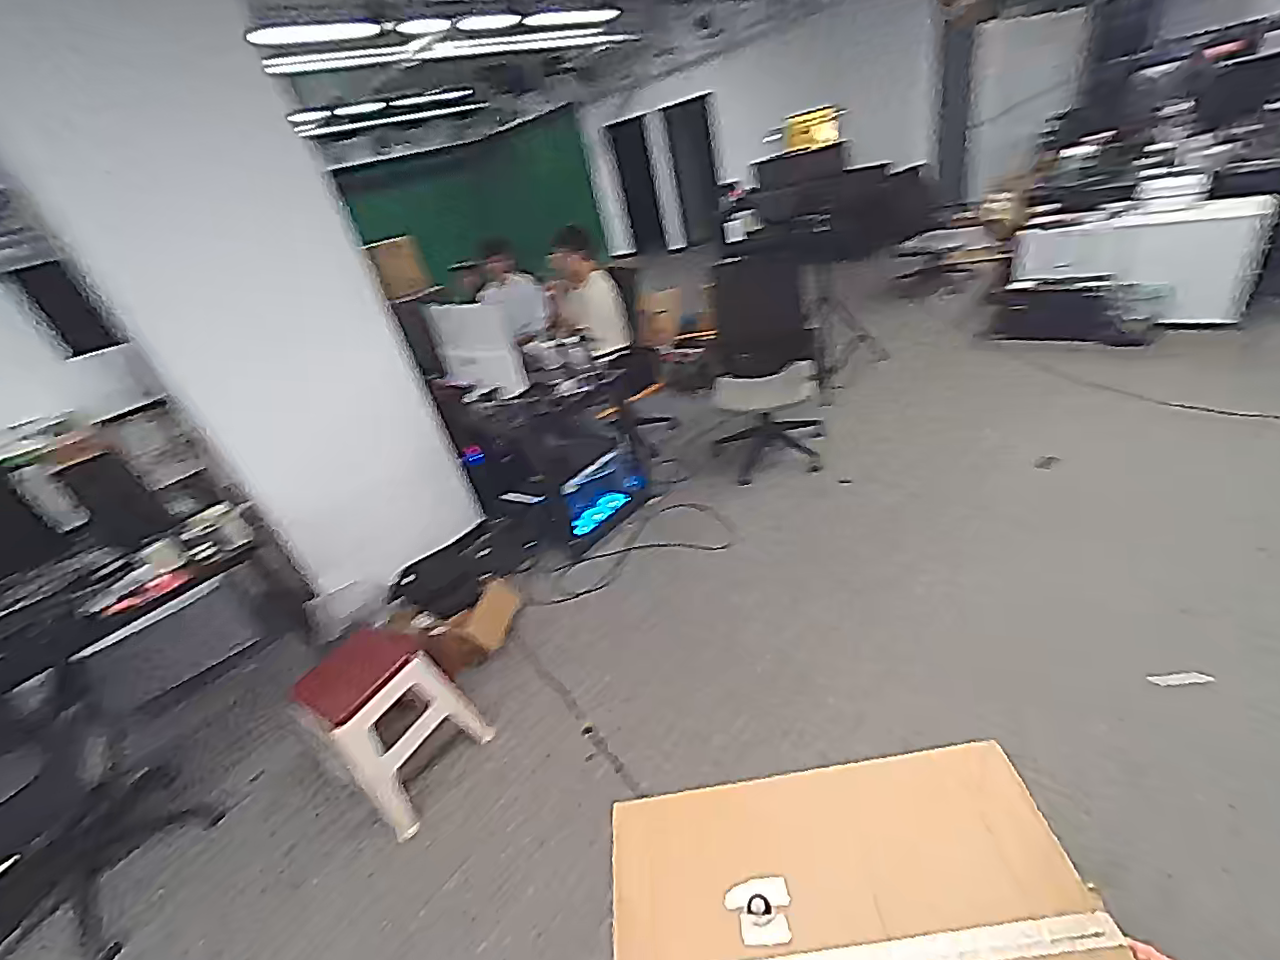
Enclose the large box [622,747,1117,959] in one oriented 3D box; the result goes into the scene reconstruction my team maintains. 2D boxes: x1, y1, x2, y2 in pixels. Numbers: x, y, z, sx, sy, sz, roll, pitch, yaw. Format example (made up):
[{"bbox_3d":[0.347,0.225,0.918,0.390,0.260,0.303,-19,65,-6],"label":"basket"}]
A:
[{"bbox_3d":[0.218,0.523,0.543,0.408,0.320,0.320,-13,36,6],"label":"large box"}]
